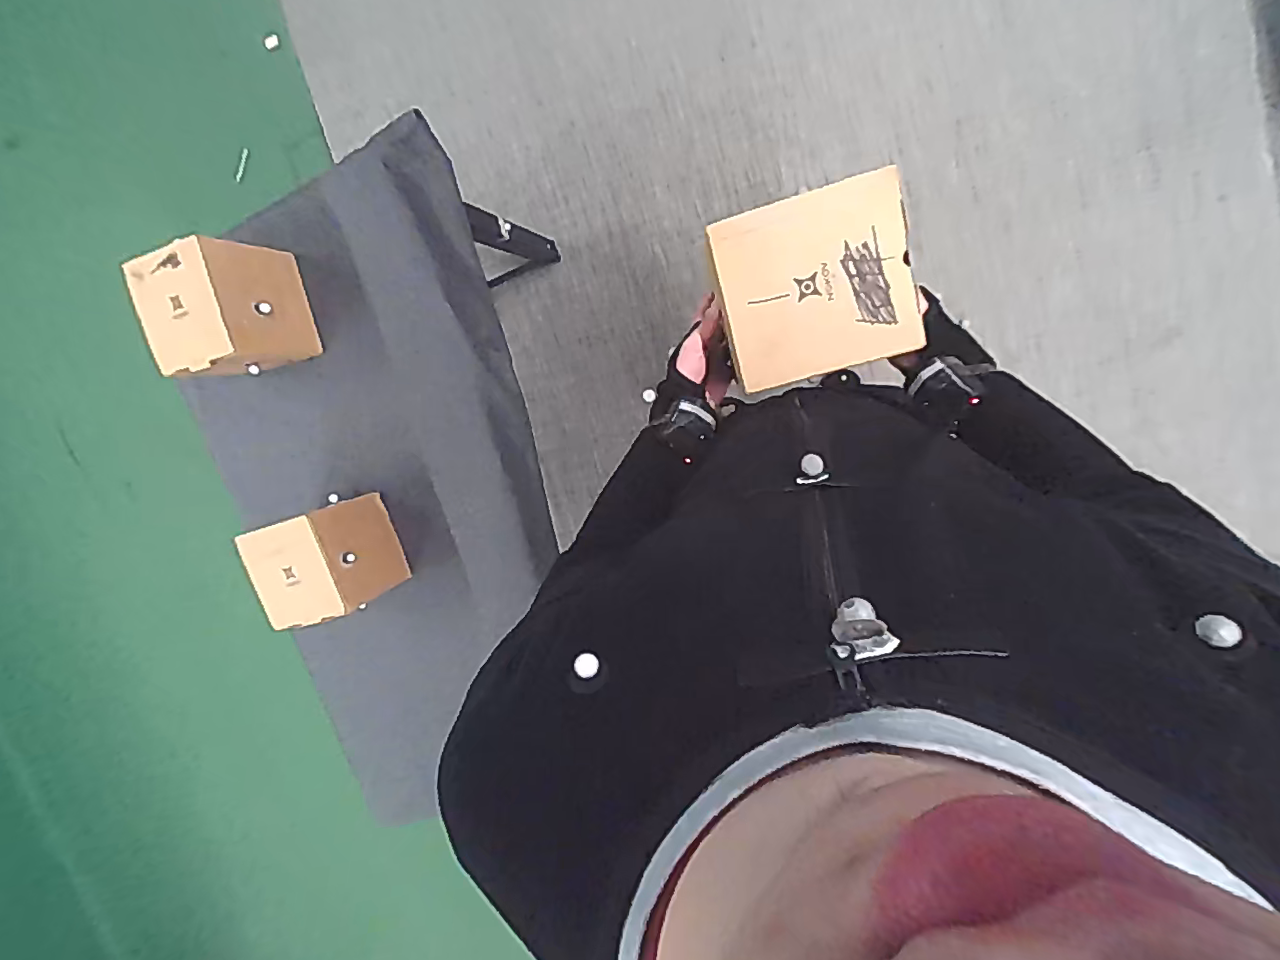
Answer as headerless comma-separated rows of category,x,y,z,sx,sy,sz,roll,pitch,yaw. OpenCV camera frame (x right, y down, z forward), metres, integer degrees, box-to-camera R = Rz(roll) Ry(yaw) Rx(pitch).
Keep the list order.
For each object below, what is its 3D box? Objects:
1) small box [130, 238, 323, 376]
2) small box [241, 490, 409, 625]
small box,-0.672,-0.281,0.901,0.168,0.176,0.179,-9,101,17
small box,-0.550,0.133,0.970,0.168,0.176,0.179,-16,97,17
